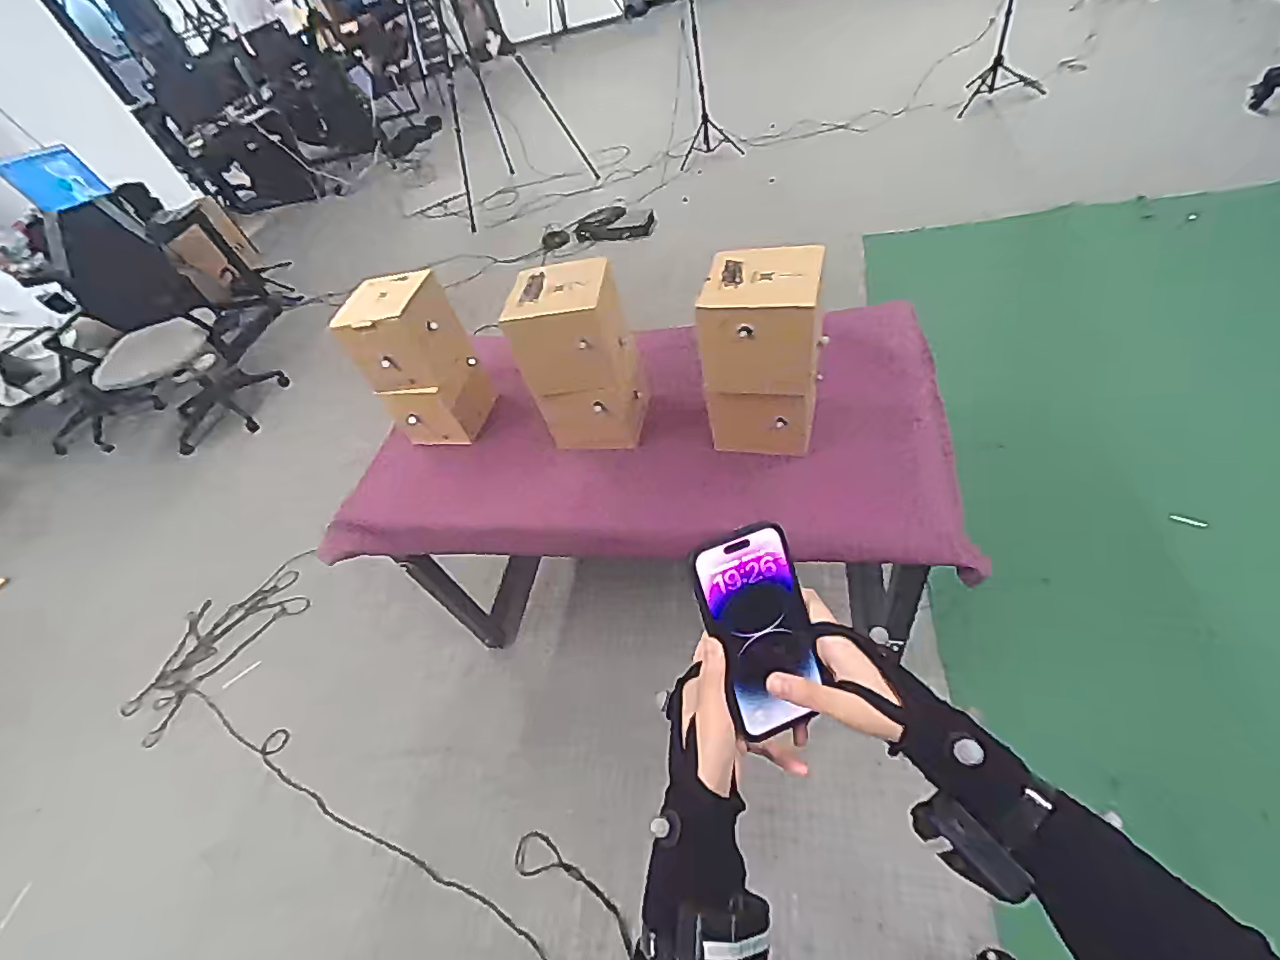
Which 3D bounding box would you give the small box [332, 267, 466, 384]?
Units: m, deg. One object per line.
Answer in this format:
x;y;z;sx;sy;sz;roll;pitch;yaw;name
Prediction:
-0.492;-0.316;1.136;0.168;0.176;0.179;-3;51;14;small box

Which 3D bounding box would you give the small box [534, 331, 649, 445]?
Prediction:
-0.088;-0.186;1.123;0.179;0.176;0.168;1;51;17;small box

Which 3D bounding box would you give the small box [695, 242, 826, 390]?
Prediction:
0.202;-0.262;0.881;0.179;0.176;0.168;6;53;21;small box

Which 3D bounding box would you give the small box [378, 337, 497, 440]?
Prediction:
-0.456;-0.206;1.253;0.168;0.176;0.179;1;51;18;small box

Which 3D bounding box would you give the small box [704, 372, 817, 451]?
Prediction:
0.234;-0.171;1.014;0.179;0.176;0.168;6;52;22;small box
